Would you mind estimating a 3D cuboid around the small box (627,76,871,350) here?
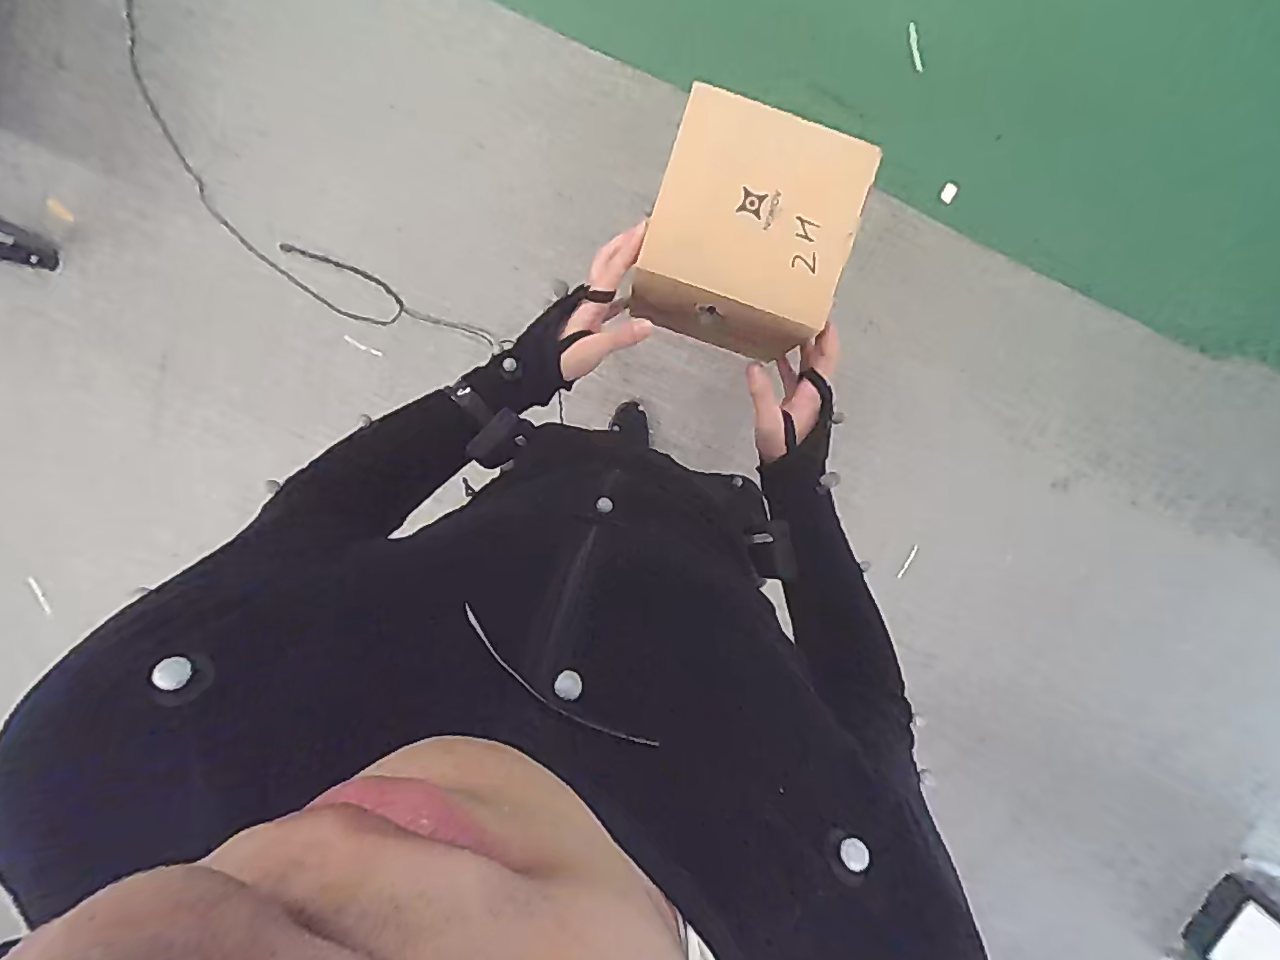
[{"bbox_3d":[0.091,-0.245,0.546,0.179,0.176,0.168,18,91,-4],"label":"small box"}]
